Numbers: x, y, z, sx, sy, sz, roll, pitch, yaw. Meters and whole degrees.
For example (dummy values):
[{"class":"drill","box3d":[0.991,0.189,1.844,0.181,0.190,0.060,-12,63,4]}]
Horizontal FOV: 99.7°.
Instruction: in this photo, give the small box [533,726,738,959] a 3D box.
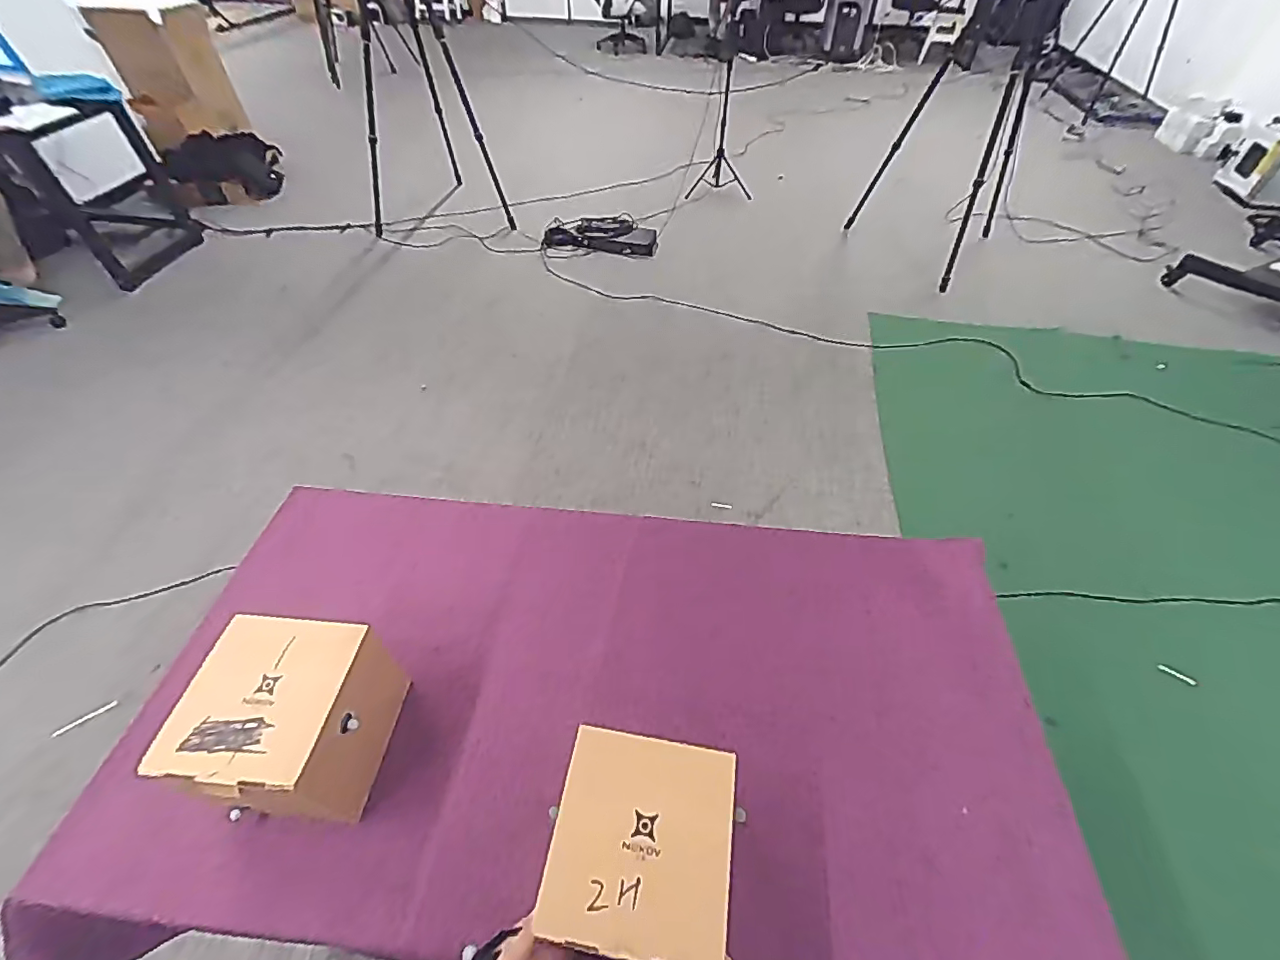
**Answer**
[{"class":"small box","box3d":[0.003,0.385,0.560,0.168,0.176,0.179,8,49,7]}]

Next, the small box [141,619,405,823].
[{"class":"small box","box3d":[-0.407,0.290,0.645,0.168,0.176,0.179,4,47,3]}]
